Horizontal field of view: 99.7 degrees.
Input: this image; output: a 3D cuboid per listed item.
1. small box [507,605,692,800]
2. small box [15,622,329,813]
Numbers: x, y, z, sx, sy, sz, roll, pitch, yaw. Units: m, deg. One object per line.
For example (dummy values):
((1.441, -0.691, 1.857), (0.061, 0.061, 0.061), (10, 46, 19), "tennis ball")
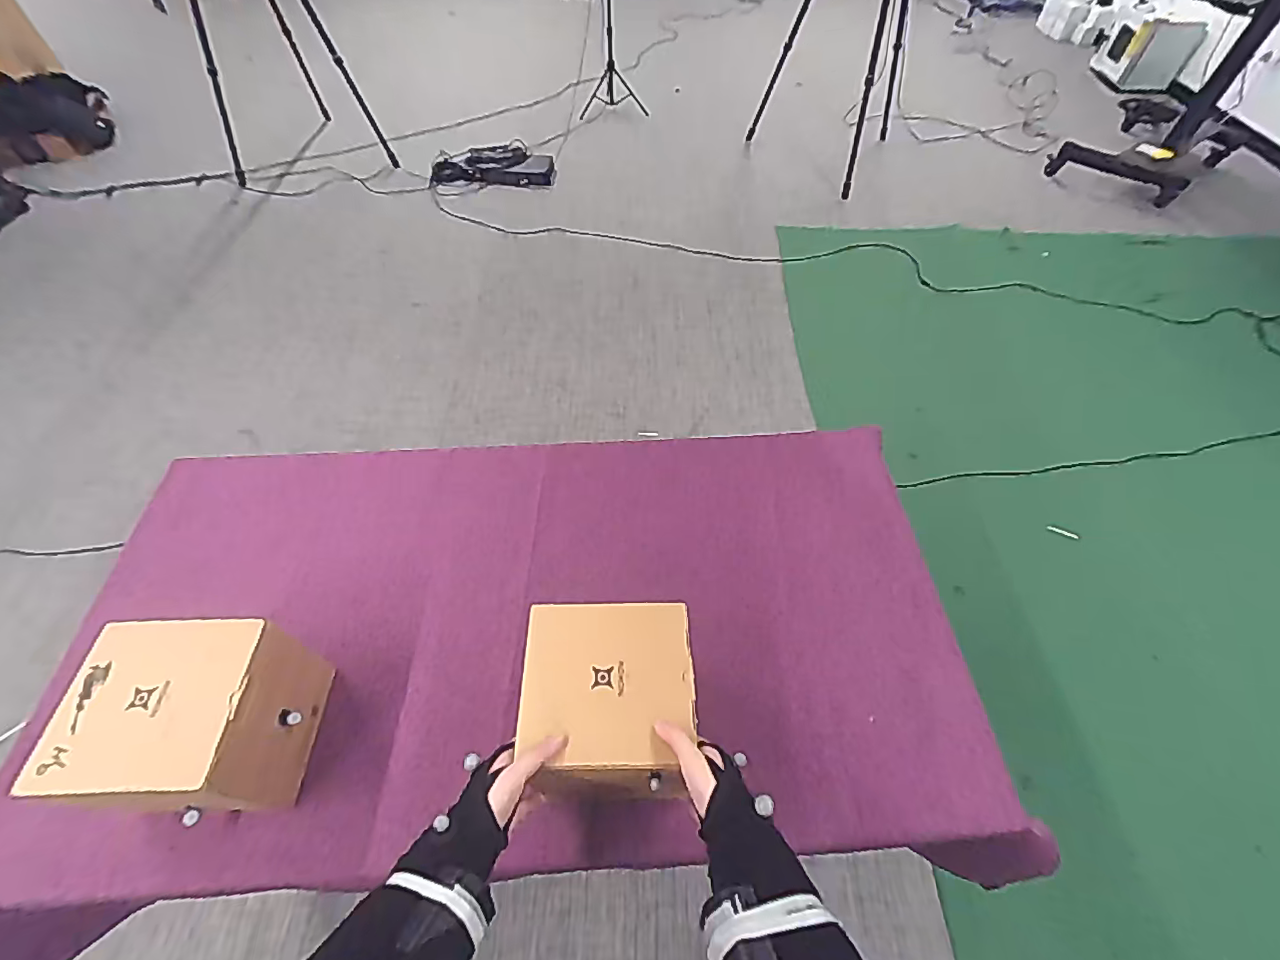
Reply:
((-0.037, 0.255, 0.613), (0.179, 0.176, 0.168), (0, 51, -1), "small box")
((-0.489, 0.269, 0.608), (0.179, 0.176, 0.168), (0, 53, -1), "small box")
